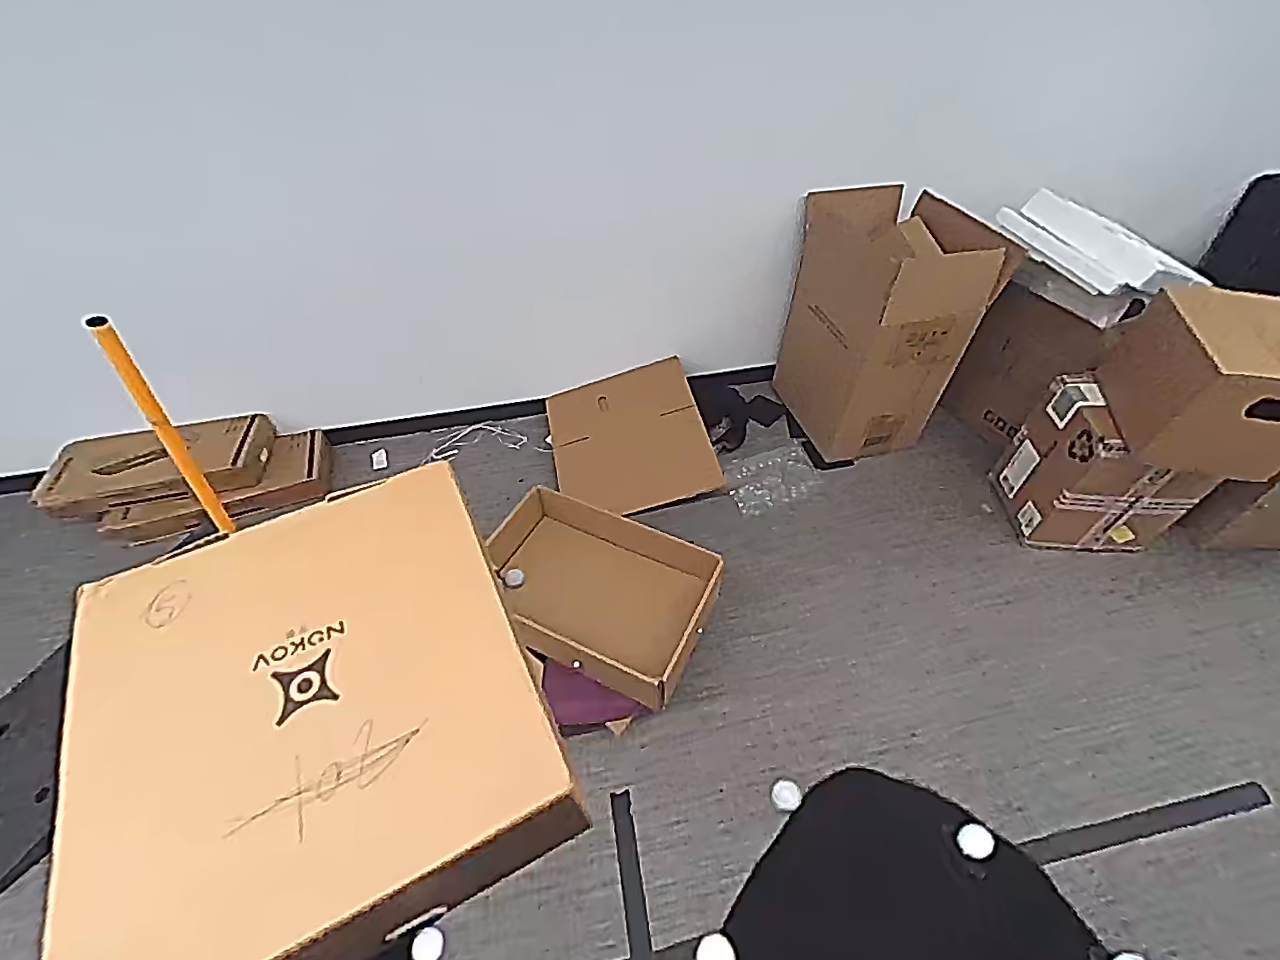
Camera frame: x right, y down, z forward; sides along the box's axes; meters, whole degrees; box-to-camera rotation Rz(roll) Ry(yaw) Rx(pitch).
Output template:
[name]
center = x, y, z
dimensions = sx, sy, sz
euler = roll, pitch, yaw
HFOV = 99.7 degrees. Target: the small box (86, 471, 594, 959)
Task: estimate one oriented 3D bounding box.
[small box]
center = -0.134, 0.131, 0.294
dimensions = 0.168, 0.176, 0.179
euler = -22, 58, -17
